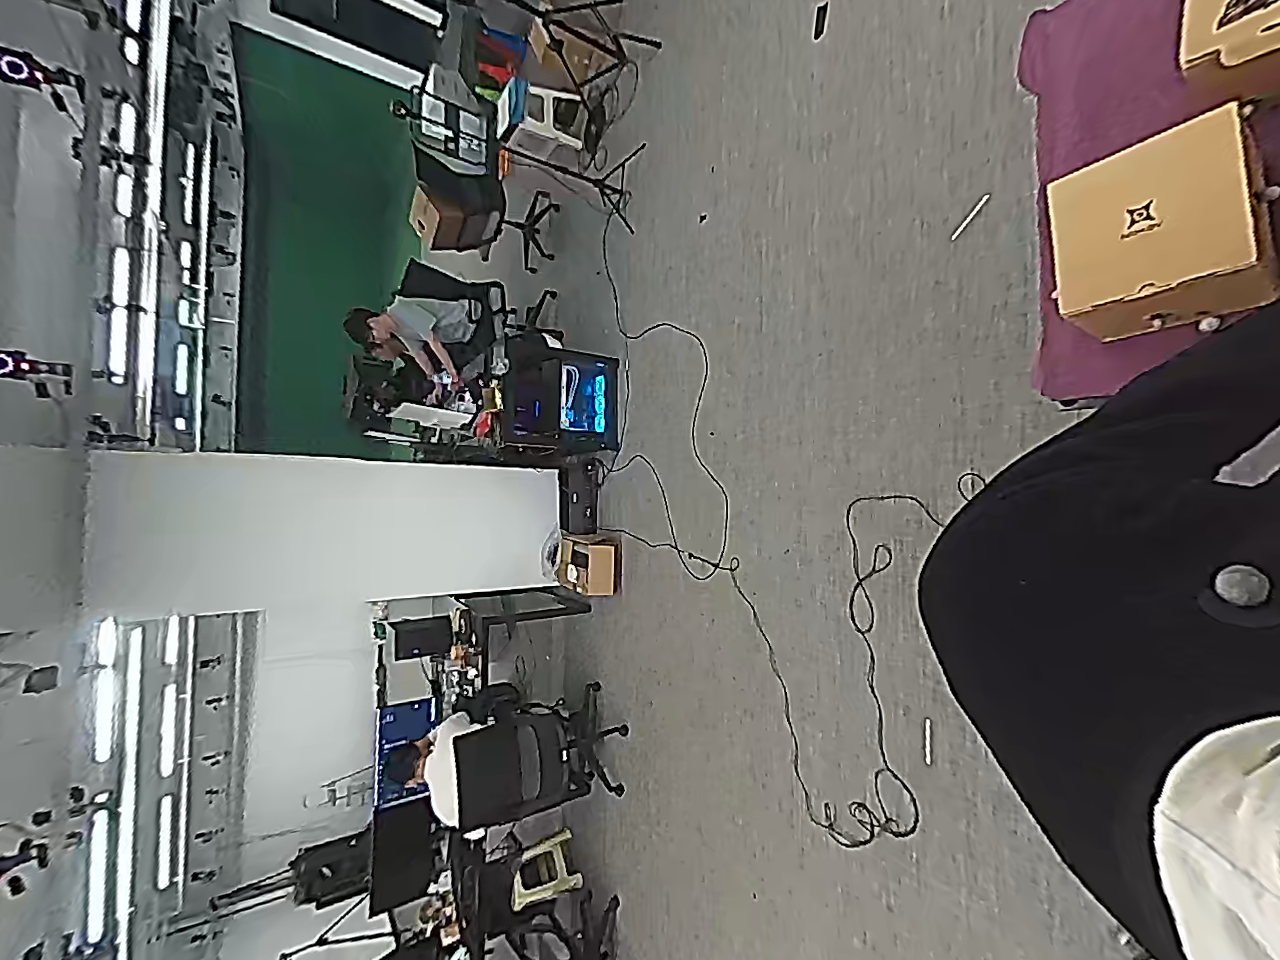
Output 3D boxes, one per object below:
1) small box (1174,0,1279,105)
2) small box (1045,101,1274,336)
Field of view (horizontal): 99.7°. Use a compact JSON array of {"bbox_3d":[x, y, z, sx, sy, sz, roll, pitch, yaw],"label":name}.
[{"bbox_3d":[0.691,-0.525,0.553,0.168,0.176,0.179,8,96,56],"label":"small box"},{"bbox_3d":[0.621,-0.292,0.650,0.168,0.176,0.179,-9,82,54],"label":"small box"}]
